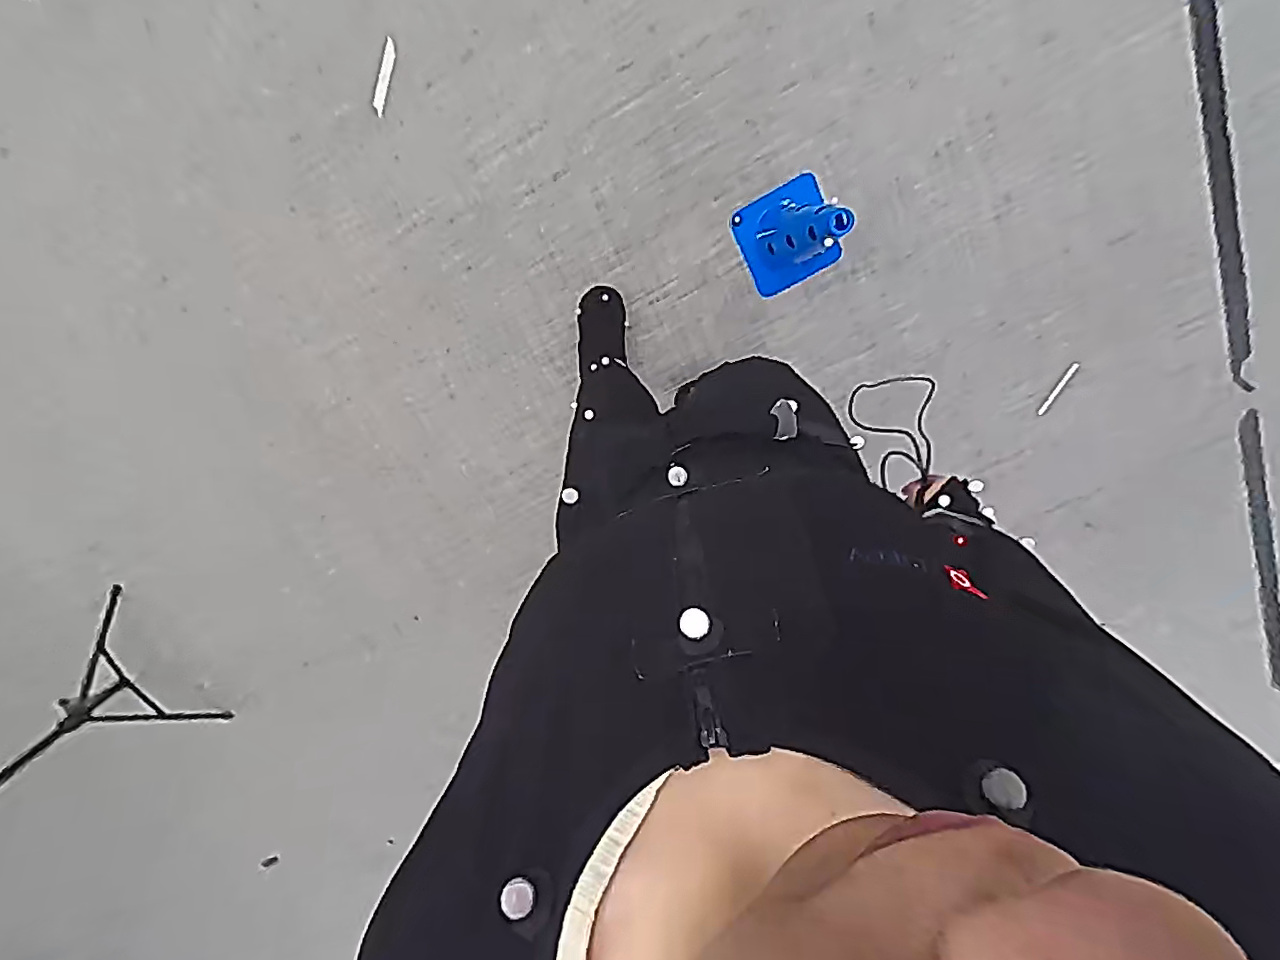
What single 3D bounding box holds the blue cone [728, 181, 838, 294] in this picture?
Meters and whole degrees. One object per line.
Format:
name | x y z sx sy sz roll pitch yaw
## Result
blue cone | 0.309 -0.475 1.037 0.192 0.380 0.193 -25 108 10
